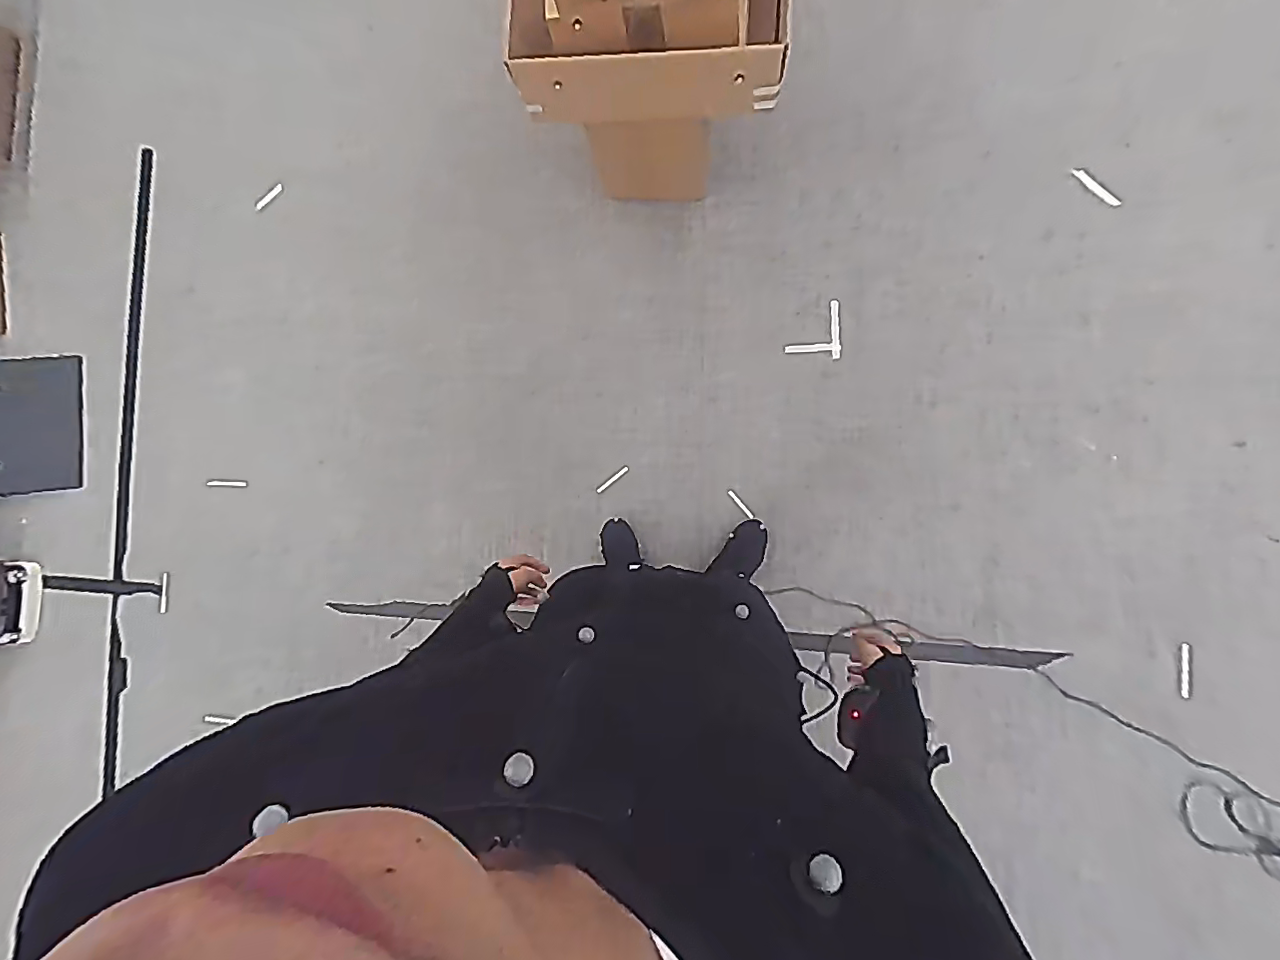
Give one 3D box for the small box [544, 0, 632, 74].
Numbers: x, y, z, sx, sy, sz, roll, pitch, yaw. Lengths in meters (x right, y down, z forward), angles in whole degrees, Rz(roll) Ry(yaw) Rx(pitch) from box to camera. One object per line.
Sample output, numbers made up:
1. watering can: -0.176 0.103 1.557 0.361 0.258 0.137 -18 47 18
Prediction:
1. small box: -0.112 -1.066 1.214 0.168 0.176 0.179 -2 87 8
